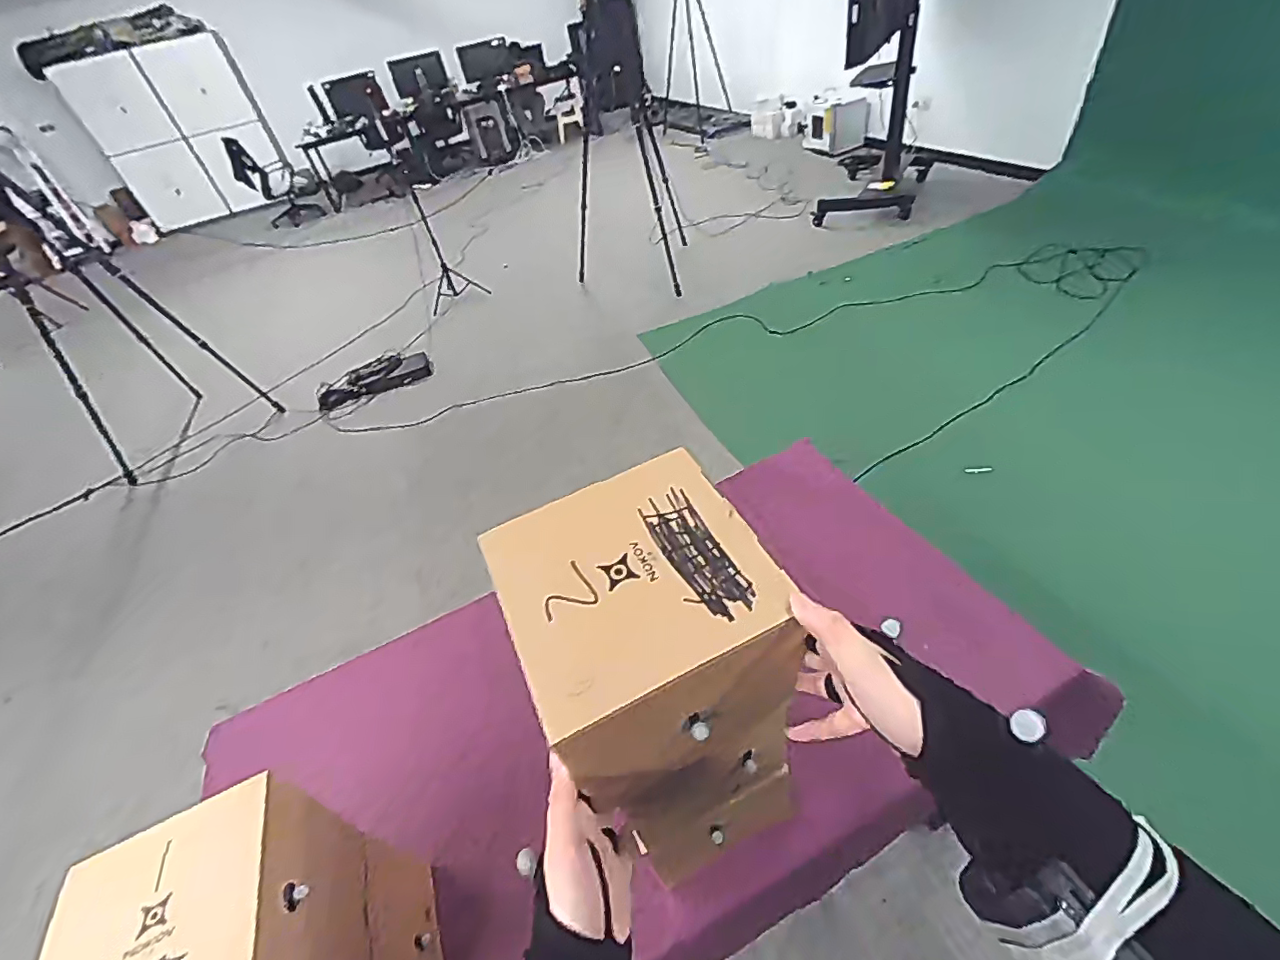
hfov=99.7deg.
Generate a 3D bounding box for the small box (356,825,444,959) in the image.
[{"bbox_3d":[-0.333,0.523,0.584,0.179,0.176,0.168,-24,44,-12],"label":"small box"}]

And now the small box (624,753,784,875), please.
[{"bbox_3d":[0.062,0.347,0.667,0.179,0.176,0.168,-23,44,-10],"label":"small box"}]

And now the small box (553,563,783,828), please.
[{"bbox_3d":[0.032,0.226,0.561,0.168,0.176,0.179,-25,43,-12],"label":"small box"}]

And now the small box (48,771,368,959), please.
[{"bbox_3d":[-0.360,0.404,0.474,0.168,0.176,0.179,-24,42,-12],"label":"small box"}]
